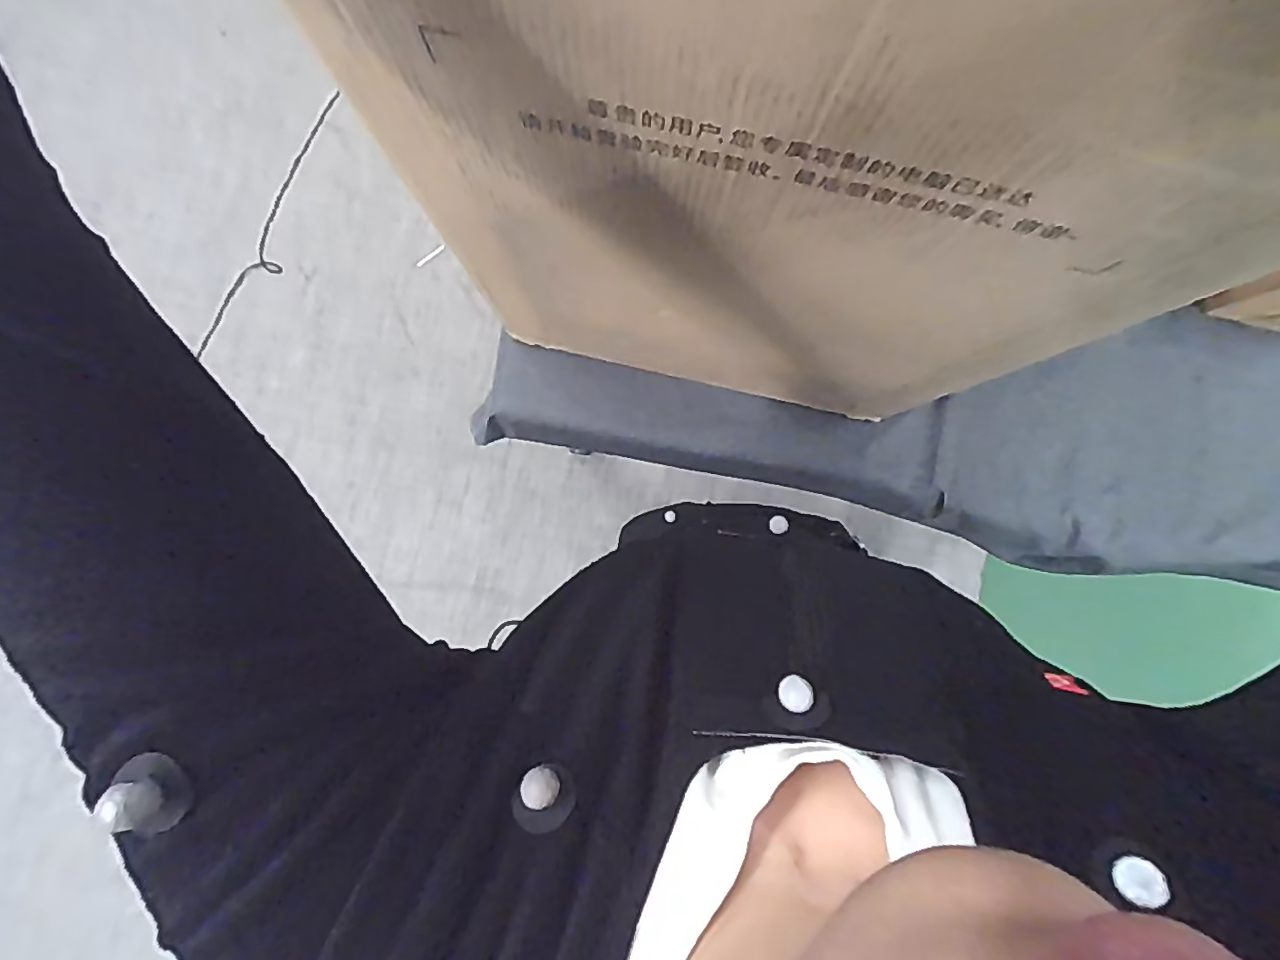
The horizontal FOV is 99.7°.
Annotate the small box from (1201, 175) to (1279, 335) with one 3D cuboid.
[{"bbox_3d":[0.906,-0.310,0.707,0.168,0.176,0.179,14,88,0],"label":"small box"}]
